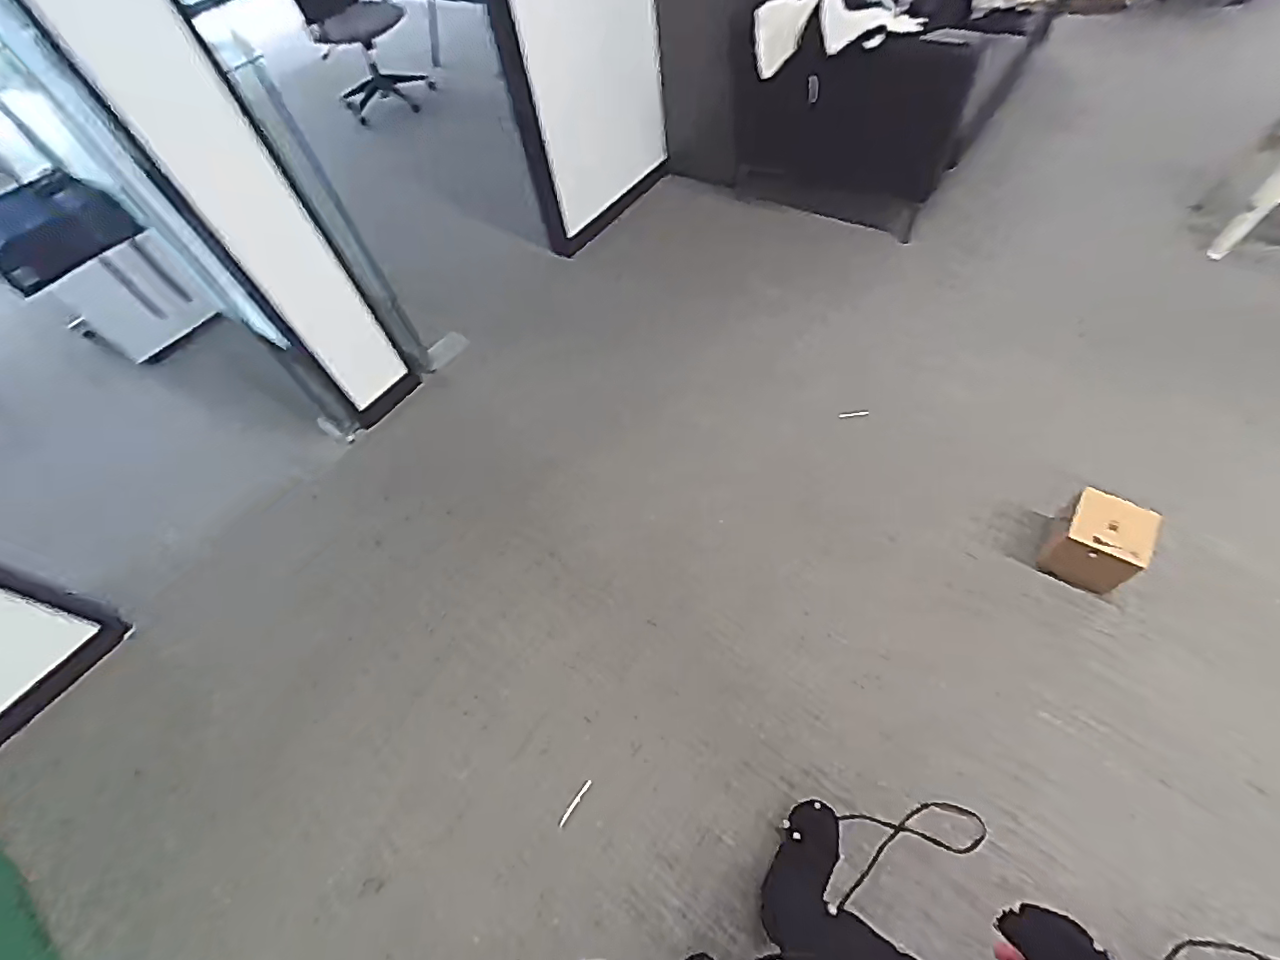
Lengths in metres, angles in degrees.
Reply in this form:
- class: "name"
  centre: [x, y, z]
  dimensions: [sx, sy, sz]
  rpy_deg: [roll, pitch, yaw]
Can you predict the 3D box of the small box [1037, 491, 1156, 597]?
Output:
- class: "small box"
  centre: [1.164, 0.167, 1.390]
  dimensions: [0.168, 0.176, 0.179]
  rpy_deg: [28, 63, 25]
